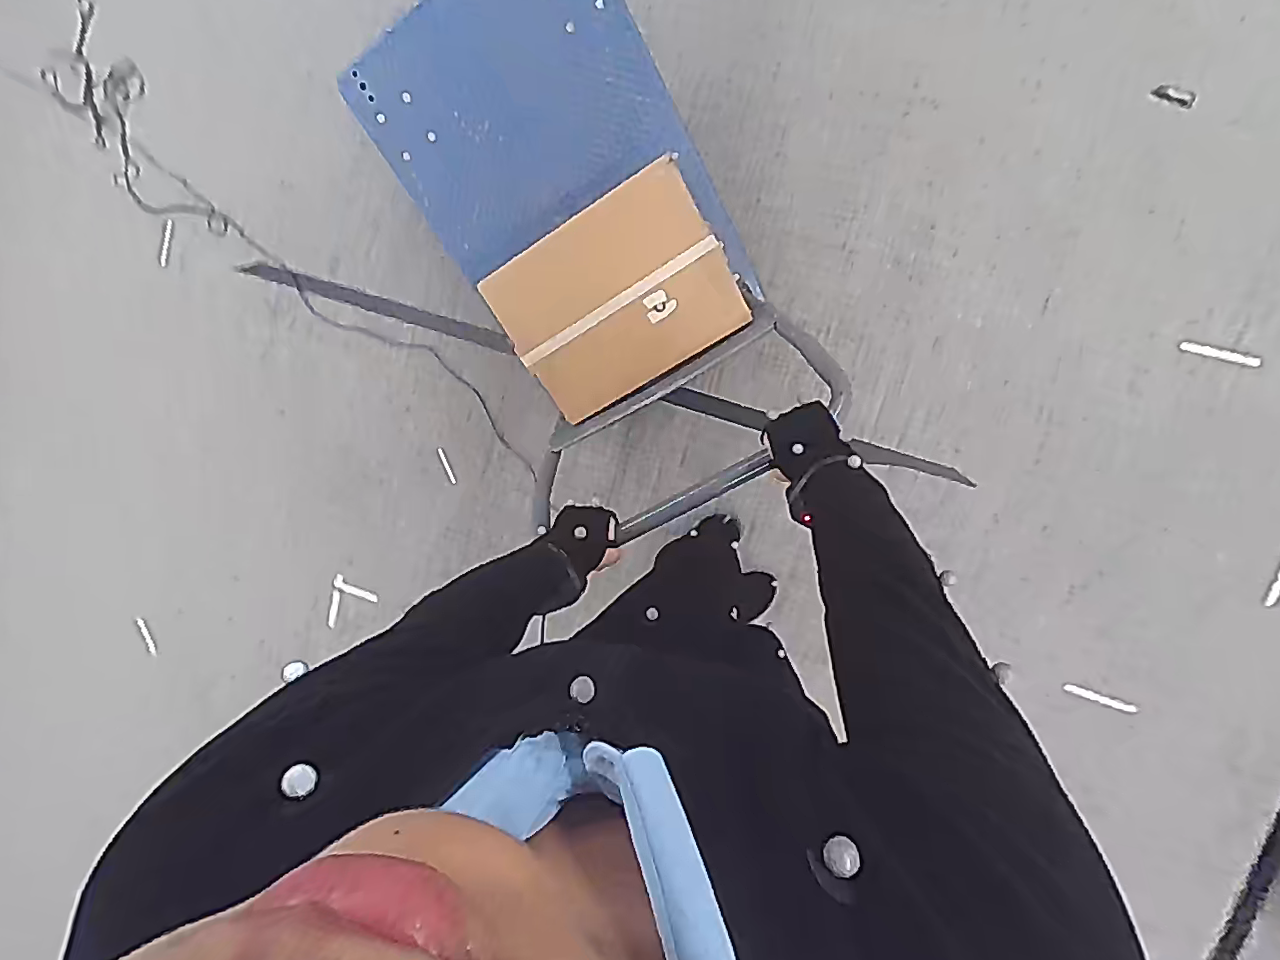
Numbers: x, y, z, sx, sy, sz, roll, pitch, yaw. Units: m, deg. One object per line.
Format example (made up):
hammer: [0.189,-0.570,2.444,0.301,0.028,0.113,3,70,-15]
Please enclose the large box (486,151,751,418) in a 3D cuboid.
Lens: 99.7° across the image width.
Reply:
large box: [-0.039,-0.393,1.130,0.408,0.320,0.320,-30,111,12]
